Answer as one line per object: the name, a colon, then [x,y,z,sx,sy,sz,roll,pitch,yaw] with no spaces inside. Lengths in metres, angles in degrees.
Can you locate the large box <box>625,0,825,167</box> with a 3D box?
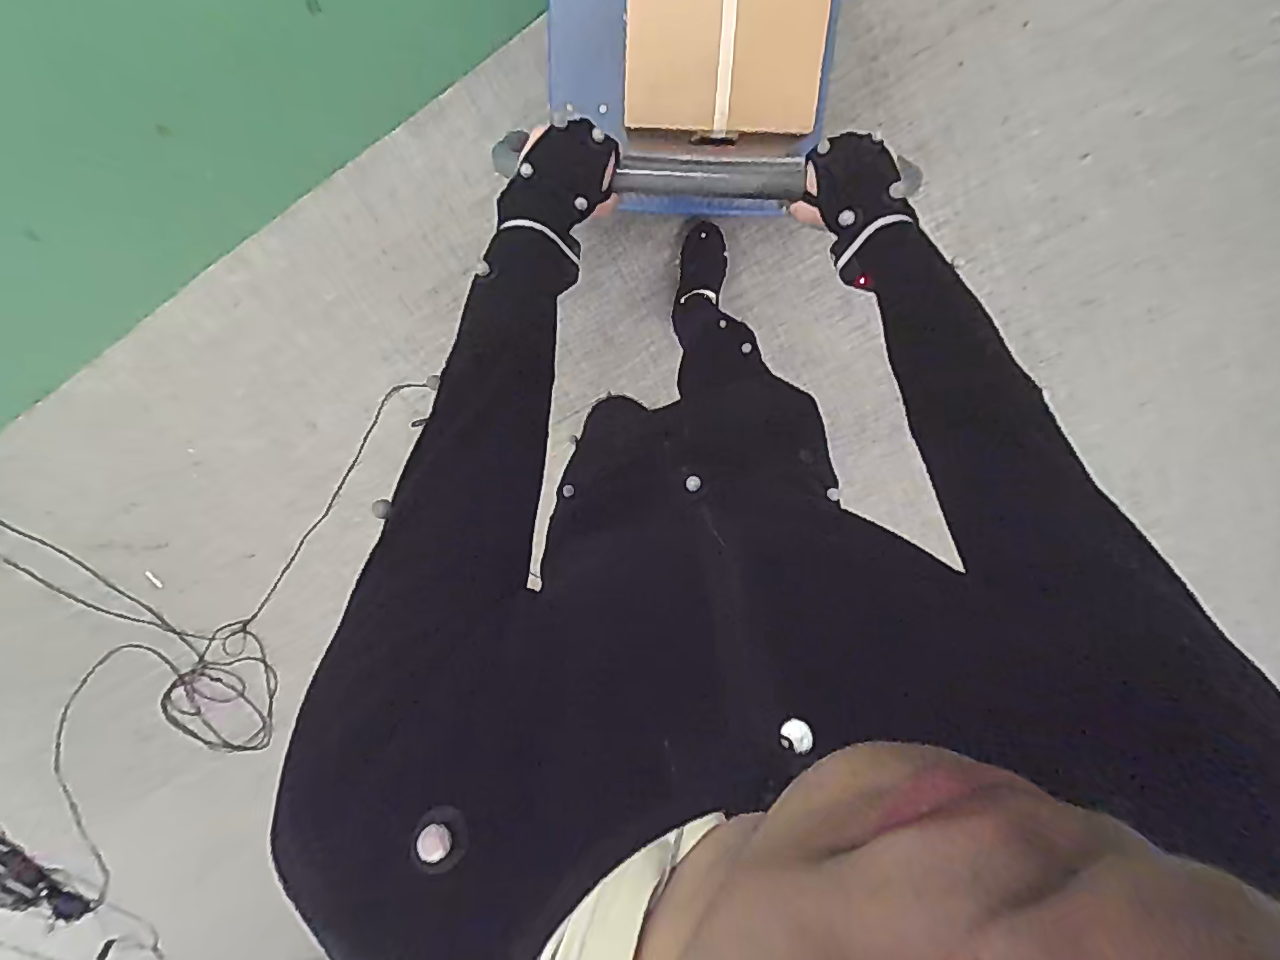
large box: [0.142,-0.820,0.978,0.320,0.320,0.408,3,111,0]
